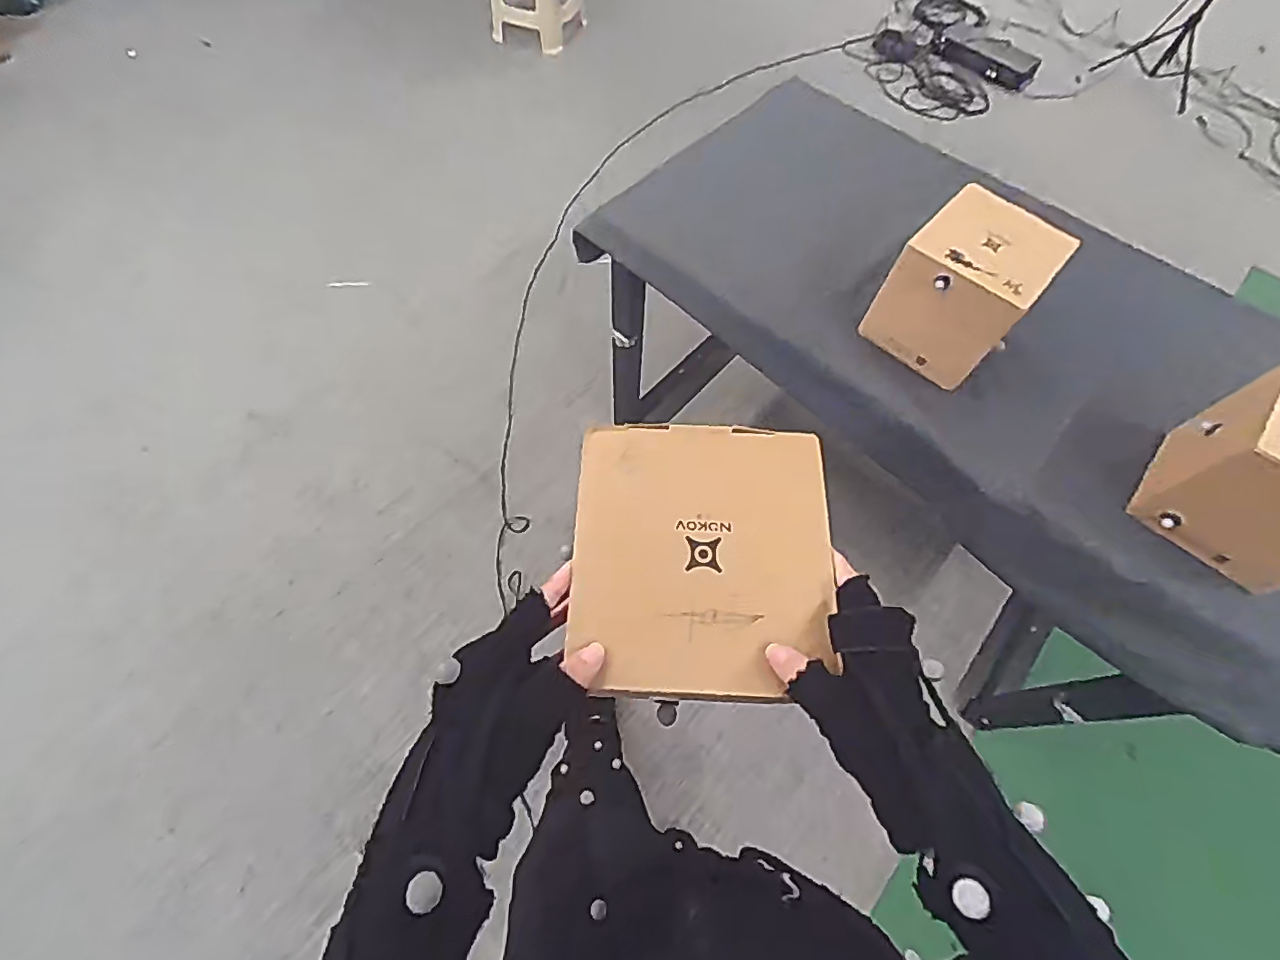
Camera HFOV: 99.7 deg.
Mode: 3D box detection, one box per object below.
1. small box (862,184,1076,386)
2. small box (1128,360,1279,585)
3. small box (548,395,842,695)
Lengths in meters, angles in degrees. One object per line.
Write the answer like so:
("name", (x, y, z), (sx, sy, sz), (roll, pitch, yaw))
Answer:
("small box", (0.452, -0.272, 0.771), (0.168, 0.176, 0.179), (41, 68, 16))
("small box", (0.752, -0.002, 0.651), (0.168, 0.176, 0.179), (40, 67, 17))
("small box", (0.035, 0.059, 0.402), (0.168, 0.176, 0.179), (4, 68, 2))
